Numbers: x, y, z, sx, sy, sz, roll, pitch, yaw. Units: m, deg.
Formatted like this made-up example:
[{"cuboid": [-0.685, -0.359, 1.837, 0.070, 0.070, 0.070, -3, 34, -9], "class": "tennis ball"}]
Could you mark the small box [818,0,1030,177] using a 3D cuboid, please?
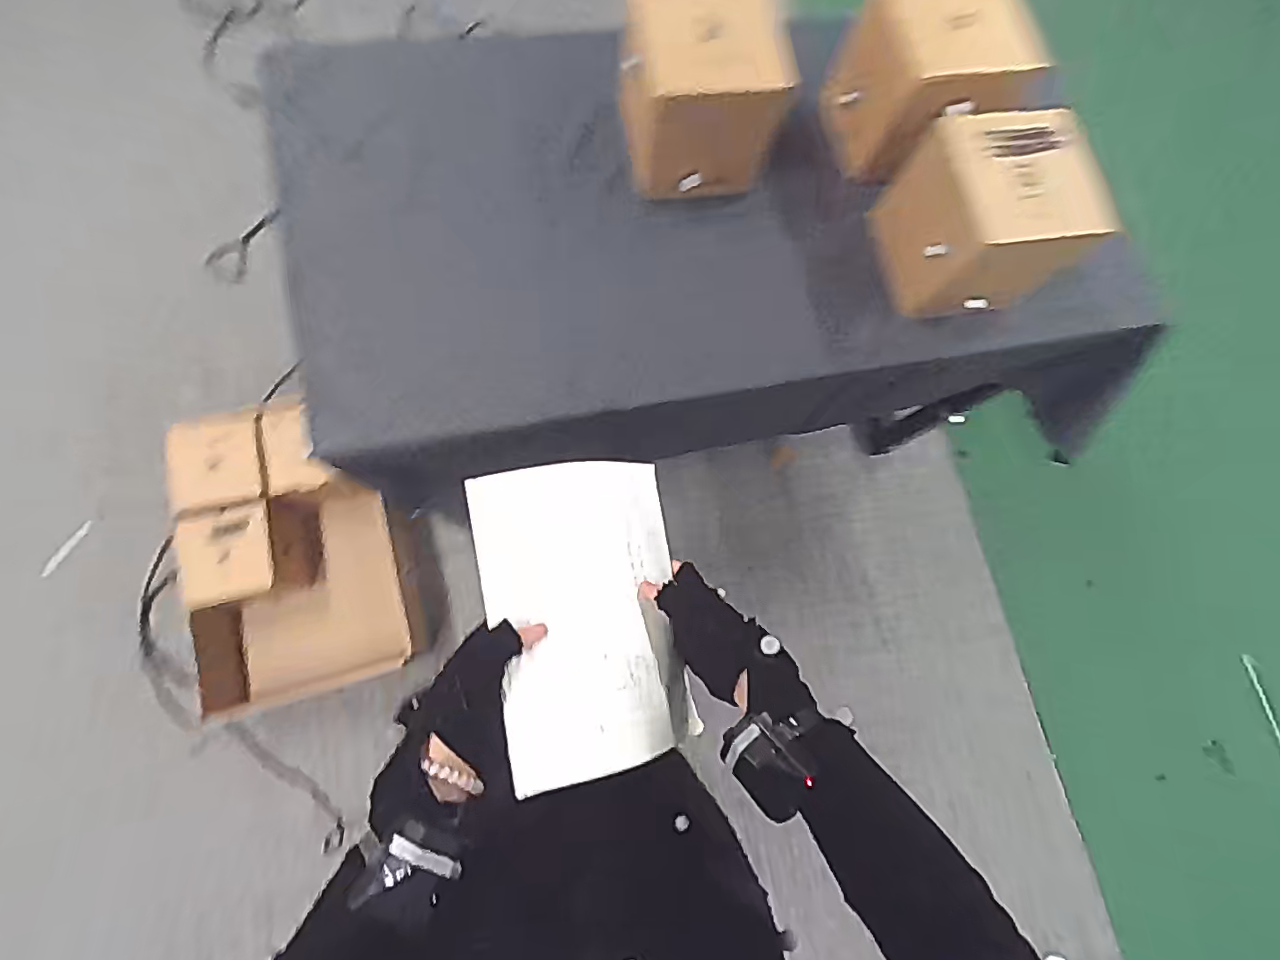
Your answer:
[{"cuboid": [0.381, -0.560, 0.757, 0.179, 0.176, 0.168, -11, 78, -8], "class": "small box"}]

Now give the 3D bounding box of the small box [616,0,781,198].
[{"cuboid": [0.064, -0.508, 0.711, 0.168, 0.176, 0.179, -8, 78, -7], "class": "small box"}]
